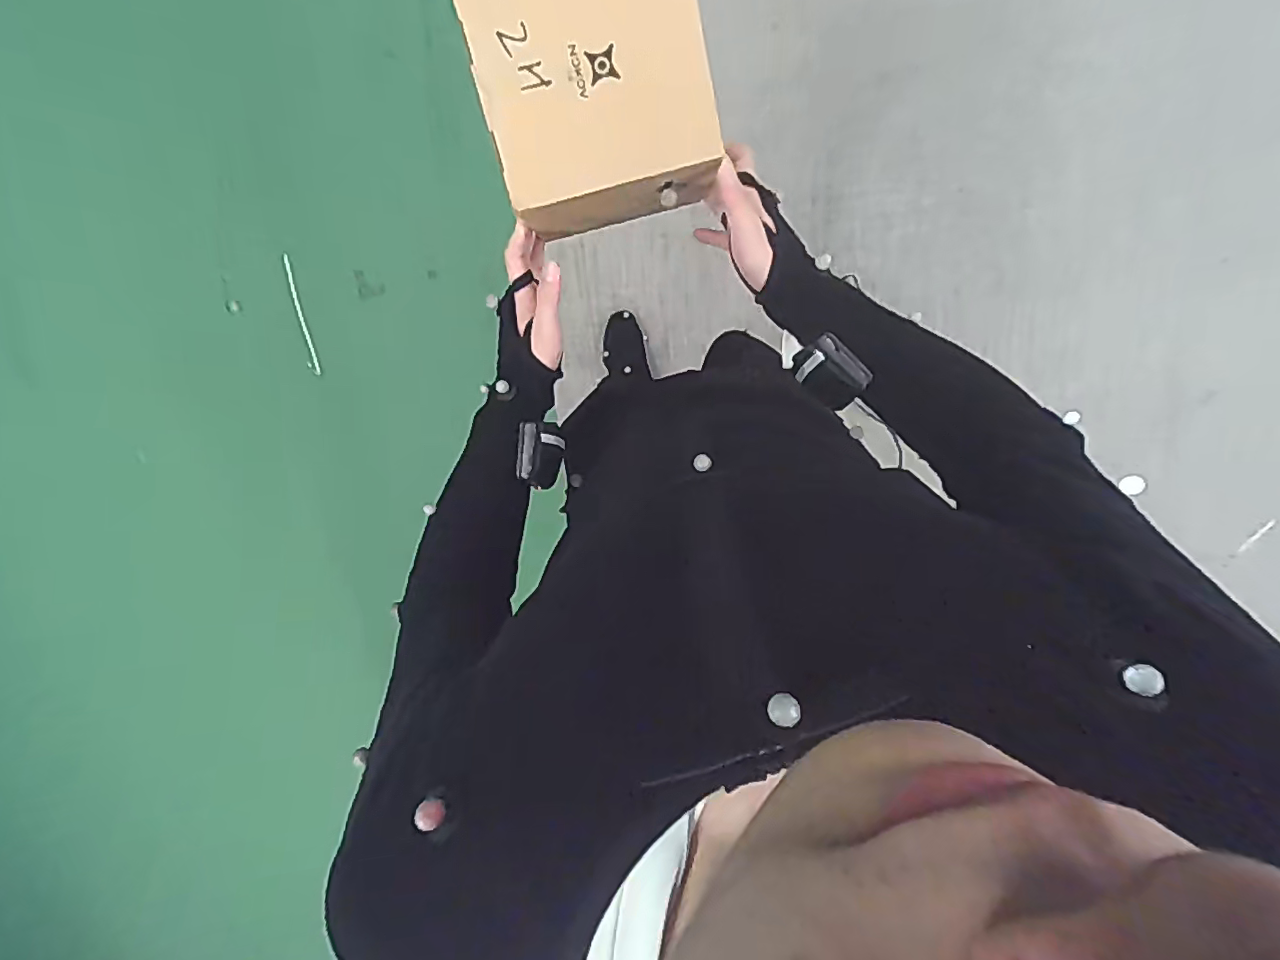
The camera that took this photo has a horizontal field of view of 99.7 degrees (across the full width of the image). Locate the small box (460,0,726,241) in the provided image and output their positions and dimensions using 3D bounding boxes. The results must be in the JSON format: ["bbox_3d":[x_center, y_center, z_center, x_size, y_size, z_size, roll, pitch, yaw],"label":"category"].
[{"bbox_3d":[-0.034,-0.329,0.486,0.179,0.176,0.168,-13,106,4],"label":"small box"}]
